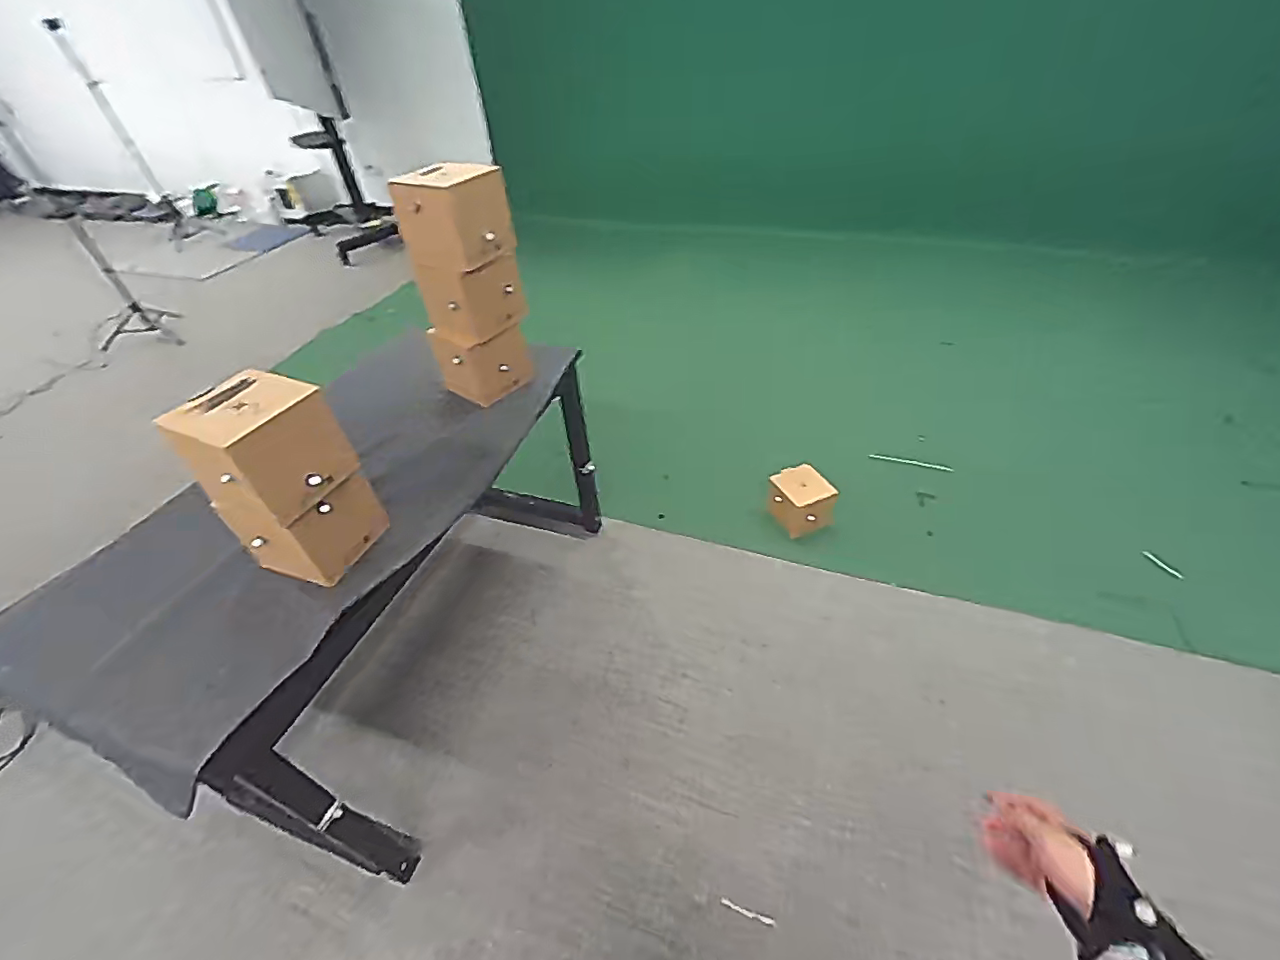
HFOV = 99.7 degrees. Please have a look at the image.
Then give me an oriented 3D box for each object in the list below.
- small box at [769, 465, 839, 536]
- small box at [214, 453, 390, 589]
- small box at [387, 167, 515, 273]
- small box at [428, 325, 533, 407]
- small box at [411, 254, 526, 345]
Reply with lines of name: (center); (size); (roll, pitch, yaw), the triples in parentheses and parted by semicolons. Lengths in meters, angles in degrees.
small box: (0.585, 0.079, 1.948); (0.168, 0.176, 0.179); (-19, 44, -15)
small box: (-0.603, 0.075, 0.987); (0.179, 0.176, 0.168); (10, 44, 18)
small box: (-0.401, -0.563, 1.171); (0.179, 0.176, 0.168); (18, 47, 24)
small box: (-0.399, -0.308, 1.376); (0.179, 0.176, 0.168); (26, 51, 32)
small box: (-0.396, -0.438, 1.278); (0.179, 0.176, 0.168); (21, 48, 30)
